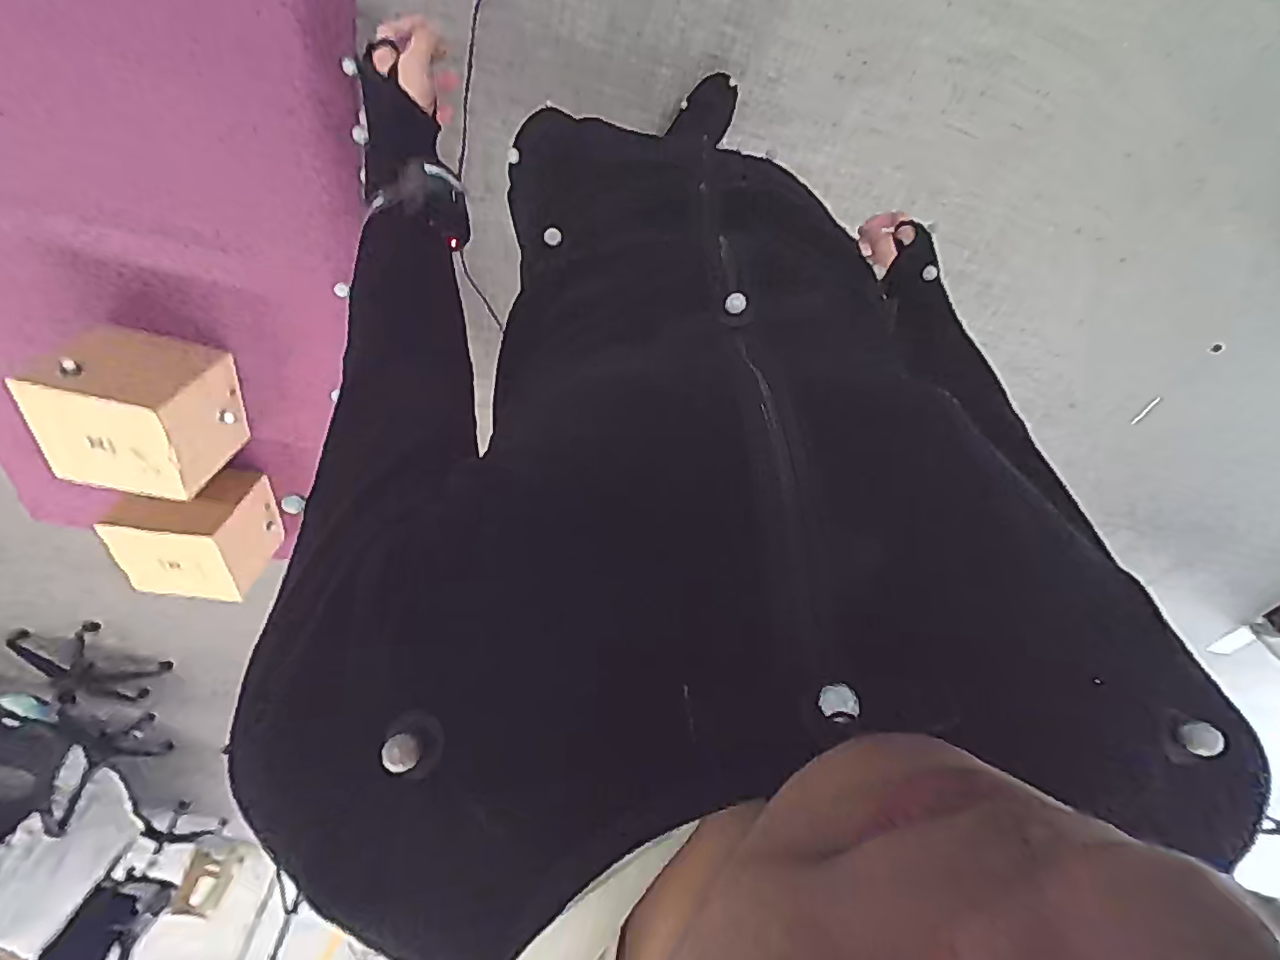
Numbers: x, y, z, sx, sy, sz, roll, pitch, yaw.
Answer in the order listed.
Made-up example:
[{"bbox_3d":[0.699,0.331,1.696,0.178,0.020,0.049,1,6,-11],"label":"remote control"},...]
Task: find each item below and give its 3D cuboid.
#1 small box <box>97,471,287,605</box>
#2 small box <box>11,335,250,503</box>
[{"bbox_3d":[-0.771,0.095,0.955,0.179,0.176,0.168,8,130,-7],"label":"small box"},{"bbox_3d":[-0.726,-0.094,0.799,0.179,0.176,0.168,12,128,-10],"label":"small box"}]
